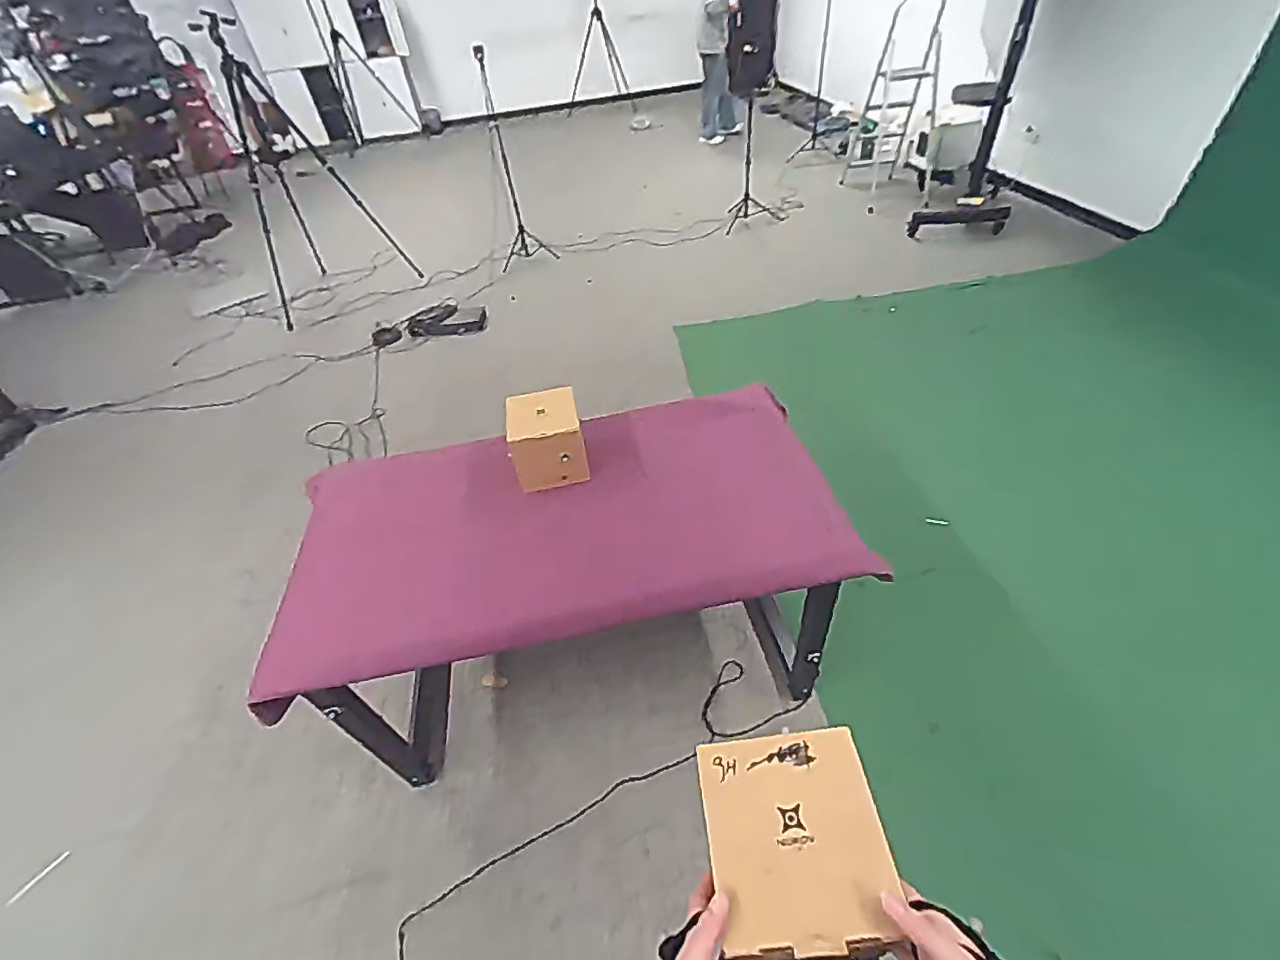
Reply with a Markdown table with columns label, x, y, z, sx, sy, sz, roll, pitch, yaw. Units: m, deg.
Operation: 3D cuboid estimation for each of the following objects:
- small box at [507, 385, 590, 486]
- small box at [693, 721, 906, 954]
| label | x | y | z | sx | sy | sz | roll | pitch | yaw |
| --- | --- | --- | --- | --- | --- | --- | --- | --- | --- |
| small box | -0.223 | -0.102 | 1.324 | 0.168 | 0.176 | 0.179 | -11 | 44 | -3 |
| small box | 0.157 | 0.384 | 0.576 | 0.168 | 0.176 | 0.179 | -10 | 46 | 4 |
